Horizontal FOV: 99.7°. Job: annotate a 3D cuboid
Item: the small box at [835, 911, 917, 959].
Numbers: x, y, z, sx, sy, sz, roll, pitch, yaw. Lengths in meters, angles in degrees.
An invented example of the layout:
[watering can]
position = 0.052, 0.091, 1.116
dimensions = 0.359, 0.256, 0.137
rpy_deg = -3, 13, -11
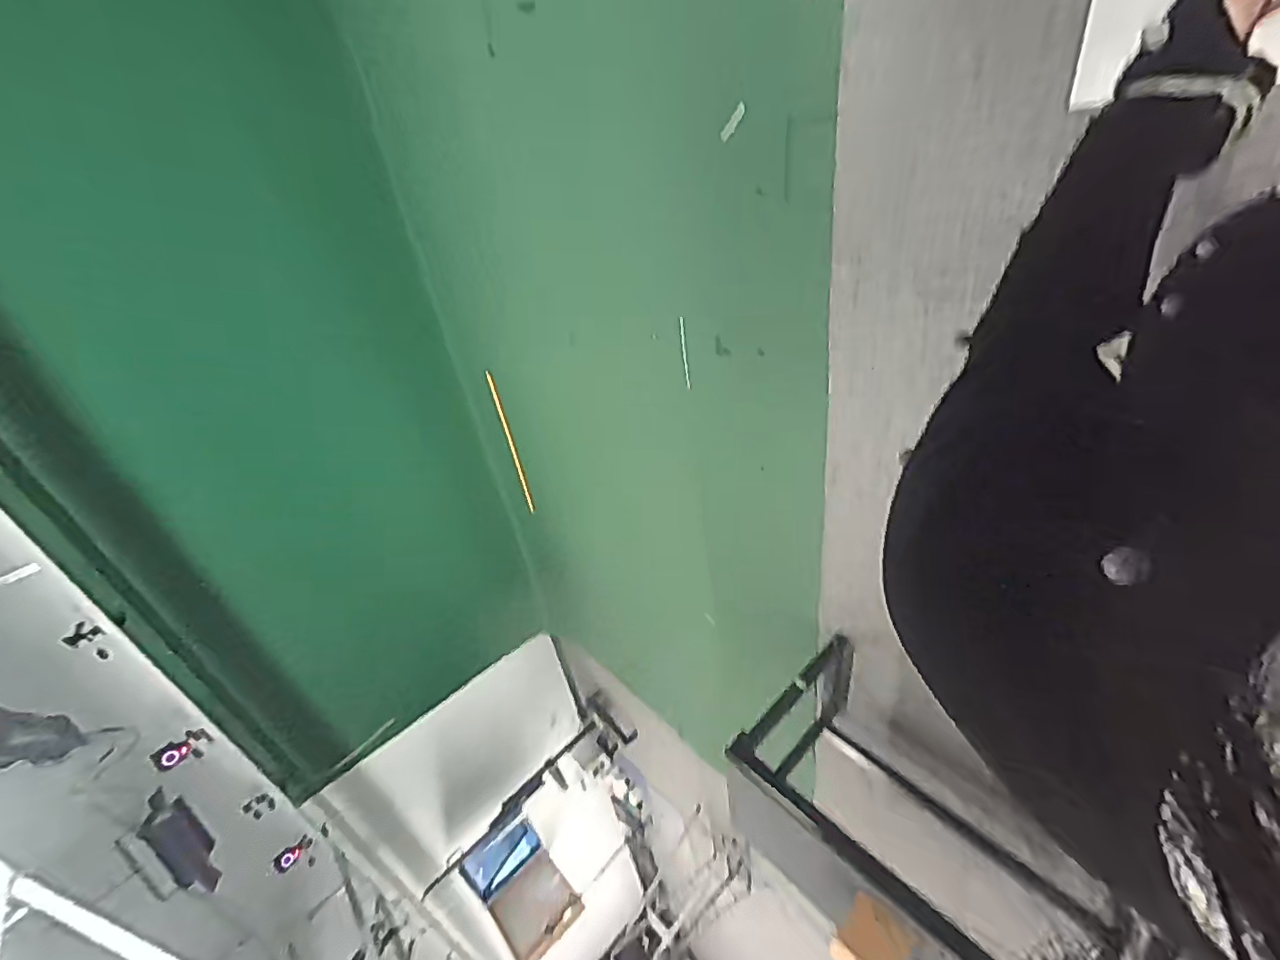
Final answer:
[small box]
position = 0.687, 1.426, 1.583
dimensions = 0.168, 0.176, 0.179
rpy_deg = 28, 138, 41
